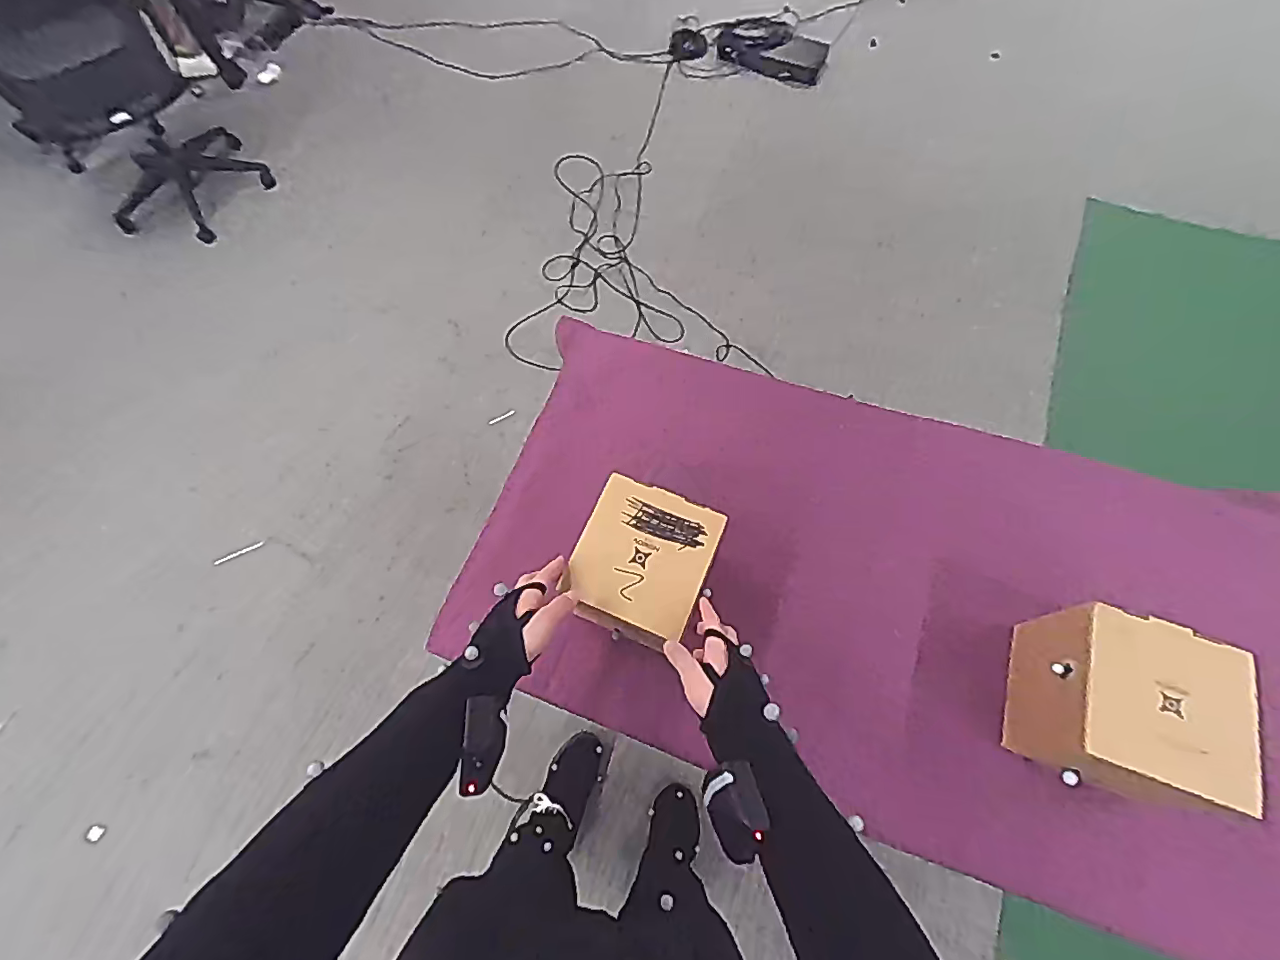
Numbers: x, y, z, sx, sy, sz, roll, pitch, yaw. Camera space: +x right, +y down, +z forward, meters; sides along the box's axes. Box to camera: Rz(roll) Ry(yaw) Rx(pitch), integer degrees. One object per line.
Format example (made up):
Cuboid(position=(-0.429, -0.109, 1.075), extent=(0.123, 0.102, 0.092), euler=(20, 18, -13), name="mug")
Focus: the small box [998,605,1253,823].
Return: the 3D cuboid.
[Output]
Cuboid(position=(0.574, 0.278, 0.661), extent=(0.168, 0.176, 0.179), euler=(19, 68, 12), name="small box")
